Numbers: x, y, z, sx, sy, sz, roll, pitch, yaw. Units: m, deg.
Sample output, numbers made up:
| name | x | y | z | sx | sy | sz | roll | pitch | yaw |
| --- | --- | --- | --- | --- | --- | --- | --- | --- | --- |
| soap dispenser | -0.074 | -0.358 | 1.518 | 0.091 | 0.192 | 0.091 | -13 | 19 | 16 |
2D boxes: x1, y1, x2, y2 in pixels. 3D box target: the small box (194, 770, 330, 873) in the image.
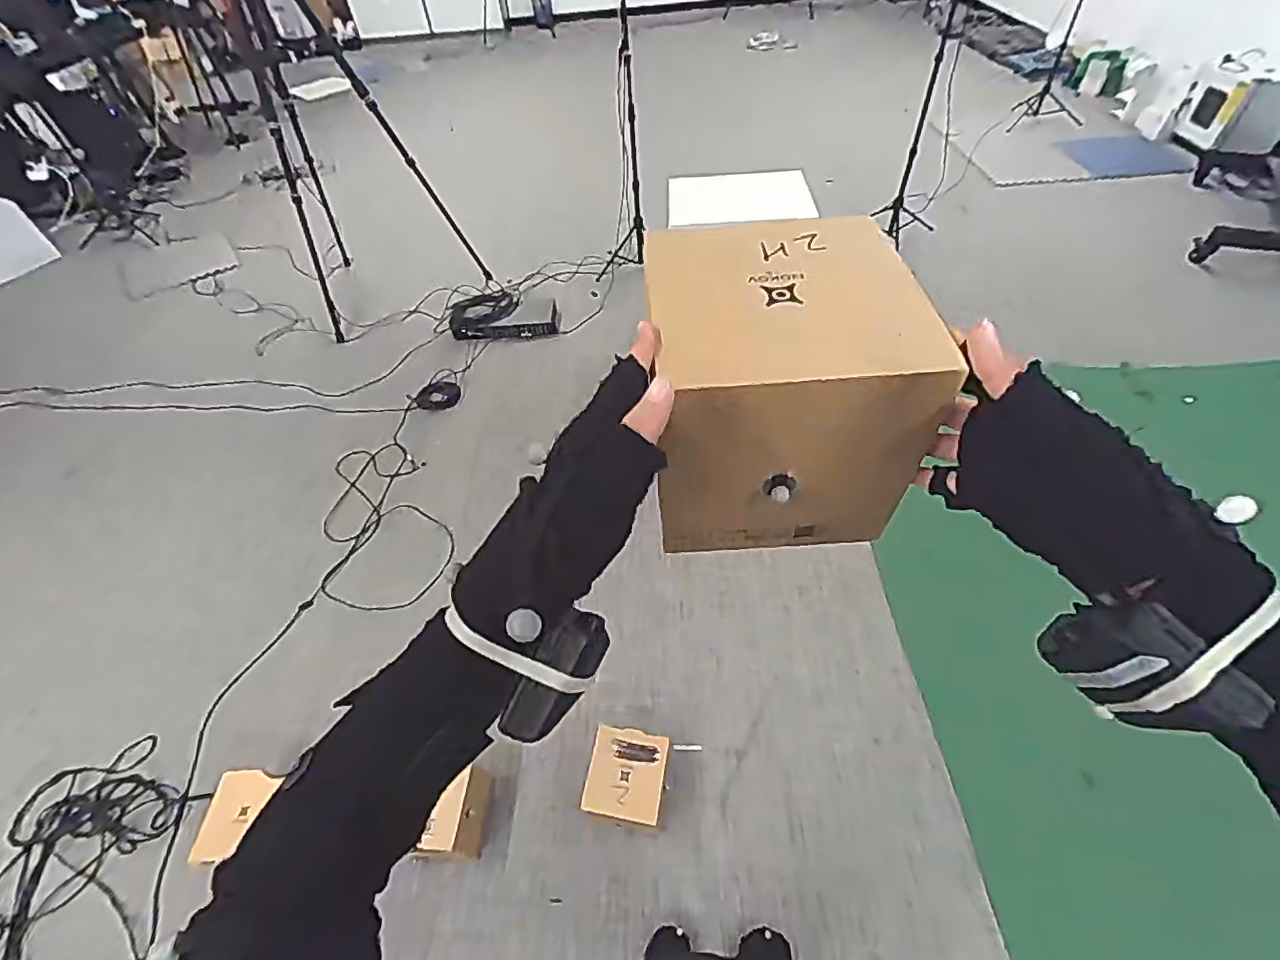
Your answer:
| name | x | y | z | sx | sy | sz | roll | pitch | yaw |
| --- | --- | --- | --- | --- | --- | --- | --- | --- | --- |
| small box | -0.851 | 0.785 | 1.241 | 0.168 | 0.176 | 0.179 | -4 | 50 | 2 |

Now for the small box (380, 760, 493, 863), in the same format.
| name | x | y | z | sx | sy | sz | roll | pitch | yaw |
| --- | --- | --- | --- | --- | --- | --- | --- | --- | --- |
| small box | -0.449 | 0.754 | 1.227 | 0.168 | 0.176 | 0.179 | 0 | 49 | 6 |
